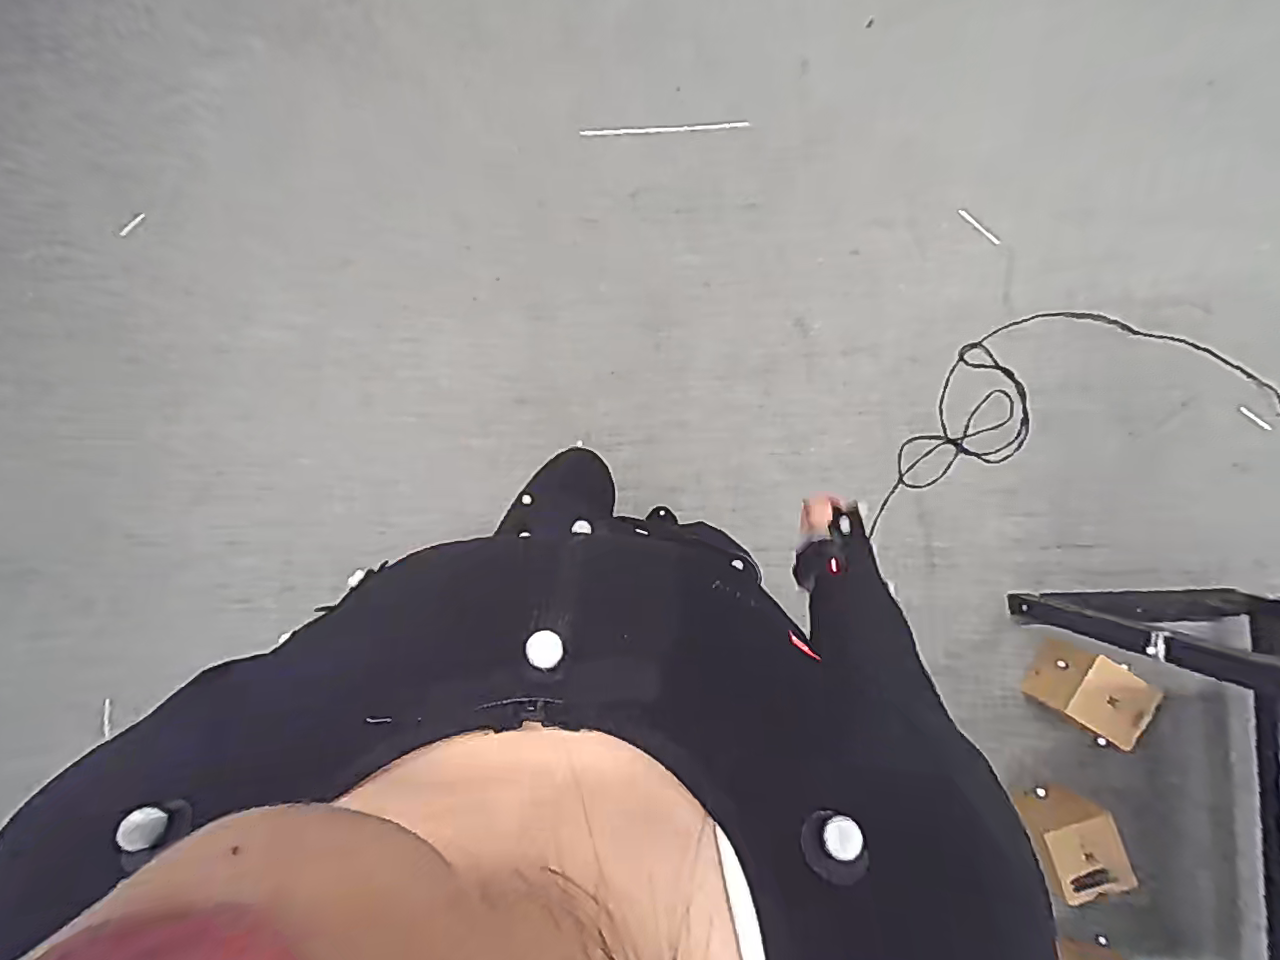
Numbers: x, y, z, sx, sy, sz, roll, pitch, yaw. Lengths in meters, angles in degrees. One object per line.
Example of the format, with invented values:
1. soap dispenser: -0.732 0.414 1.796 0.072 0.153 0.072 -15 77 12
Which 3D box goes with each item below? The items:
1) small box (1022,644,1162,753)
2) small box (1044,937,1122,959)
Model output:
1. small box: 1.113 0.531 1.349 0.179 0.176 0.168 32 88 2
2. small box: 1.117 1.267 1.313 0.168 0.176 0.179 4 89 2
